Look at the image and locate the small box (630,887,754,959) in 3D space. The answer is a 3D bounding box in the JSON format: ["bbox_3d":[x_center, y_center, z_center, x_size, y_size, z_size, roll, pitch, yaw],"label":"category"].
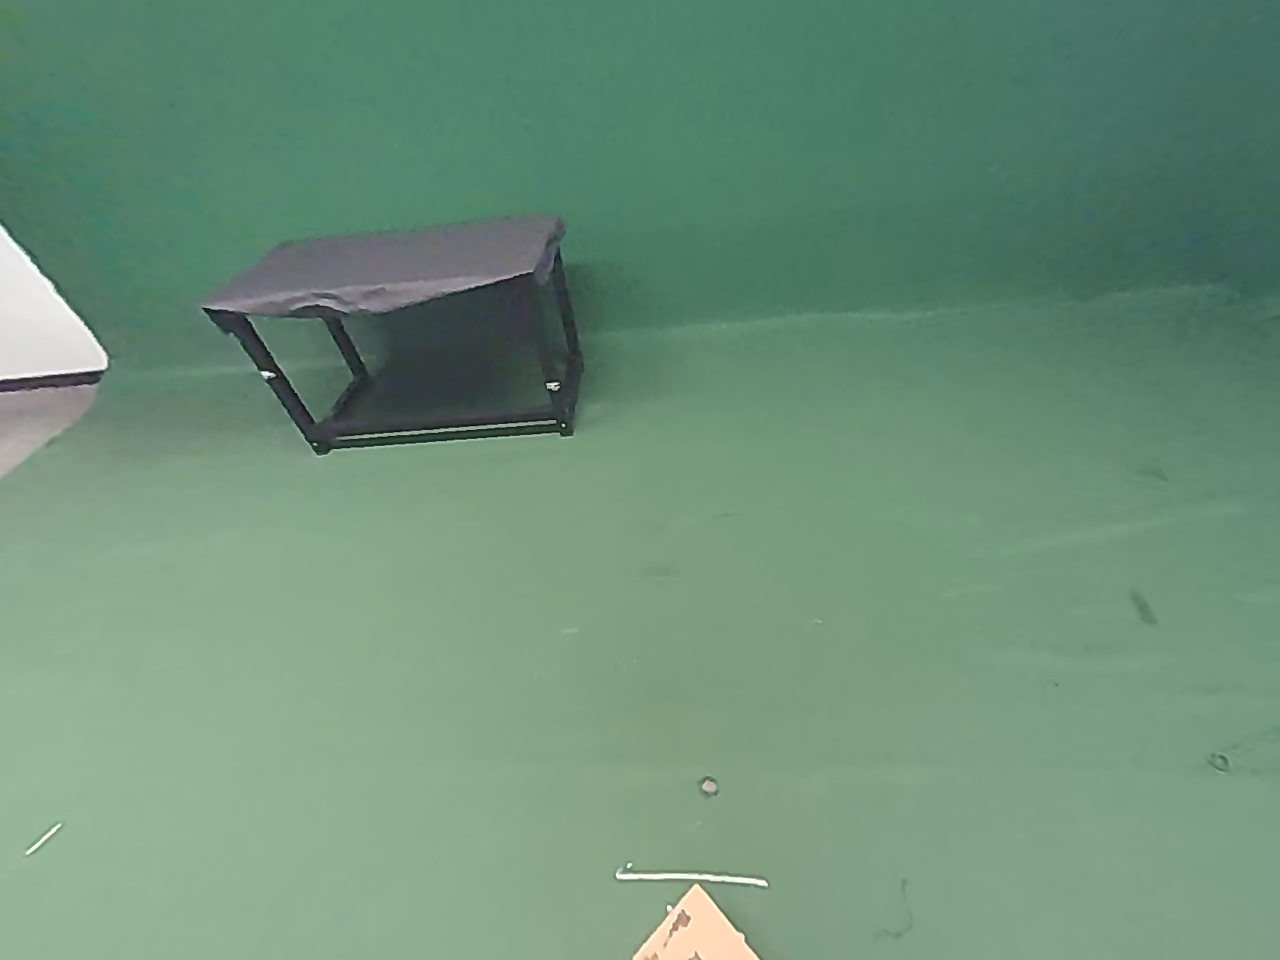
[{"bbox_3d":[0.106,0.879,0.959,0.168,0.176,0.179,-34,48,-26],"label":"small box"}]
